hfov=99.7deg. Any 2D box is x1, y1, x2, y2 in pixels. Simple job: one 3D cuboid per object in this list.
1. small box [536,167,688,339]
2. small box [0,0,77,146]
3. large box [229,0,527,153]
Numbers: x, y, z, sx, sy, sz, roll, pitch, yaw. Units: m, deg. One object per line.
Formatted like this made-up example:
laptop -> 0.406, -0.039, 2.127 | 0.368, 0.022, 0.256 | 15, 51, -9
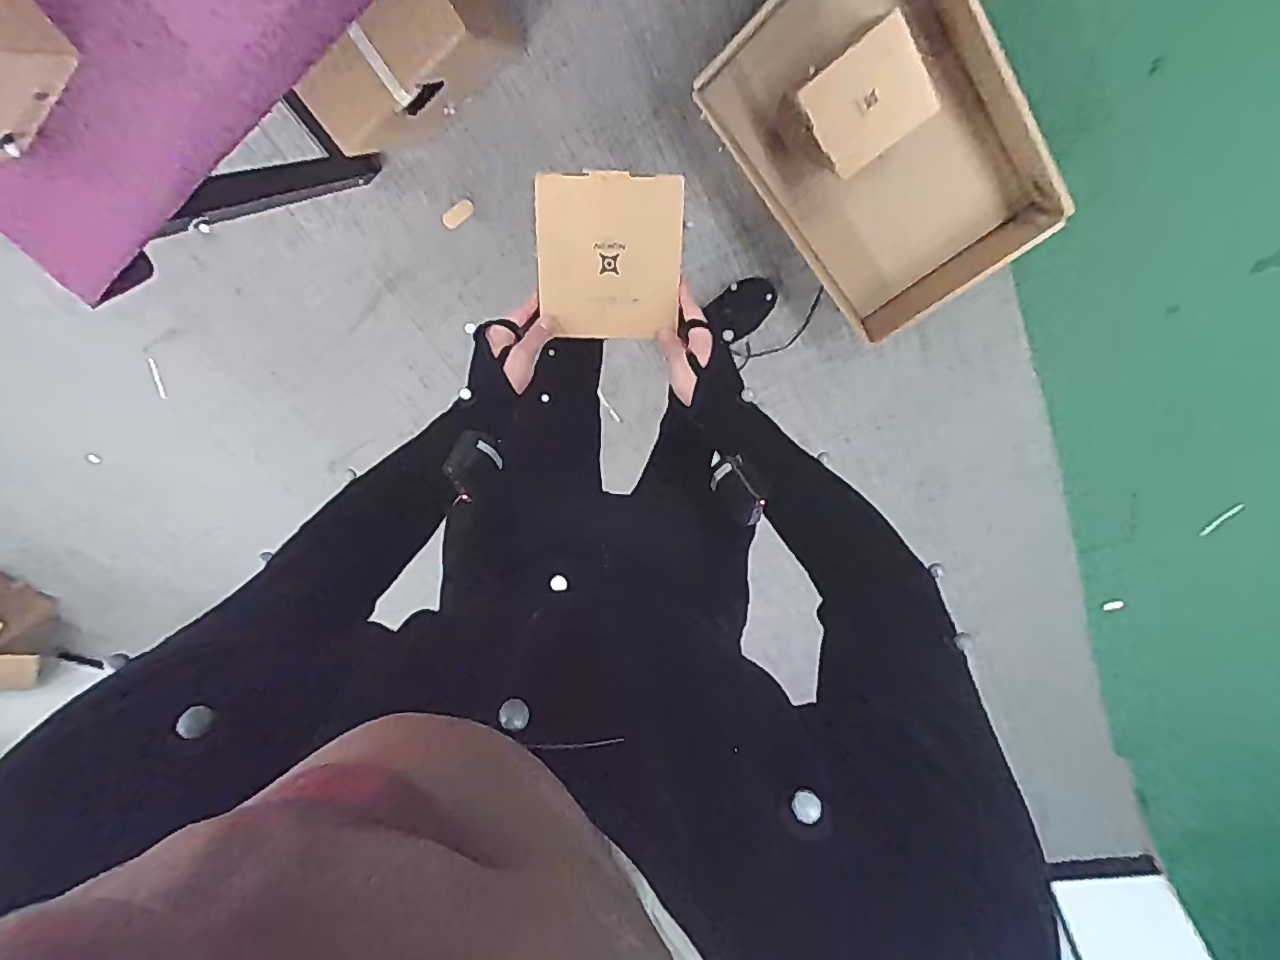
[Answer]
small box -> -0.030, -0.277, 0.679 | 0.168, 0.176, 0.179 | 2, 112, 2
small box -> -0.666, -0.407, 0.463 | 0.168, 0.176, 0.179 | -25, 116, 23
large box -> -0.471, -0.857, 0.932 | 0.320, 0.320, 0.408 | -26, 116, 23
